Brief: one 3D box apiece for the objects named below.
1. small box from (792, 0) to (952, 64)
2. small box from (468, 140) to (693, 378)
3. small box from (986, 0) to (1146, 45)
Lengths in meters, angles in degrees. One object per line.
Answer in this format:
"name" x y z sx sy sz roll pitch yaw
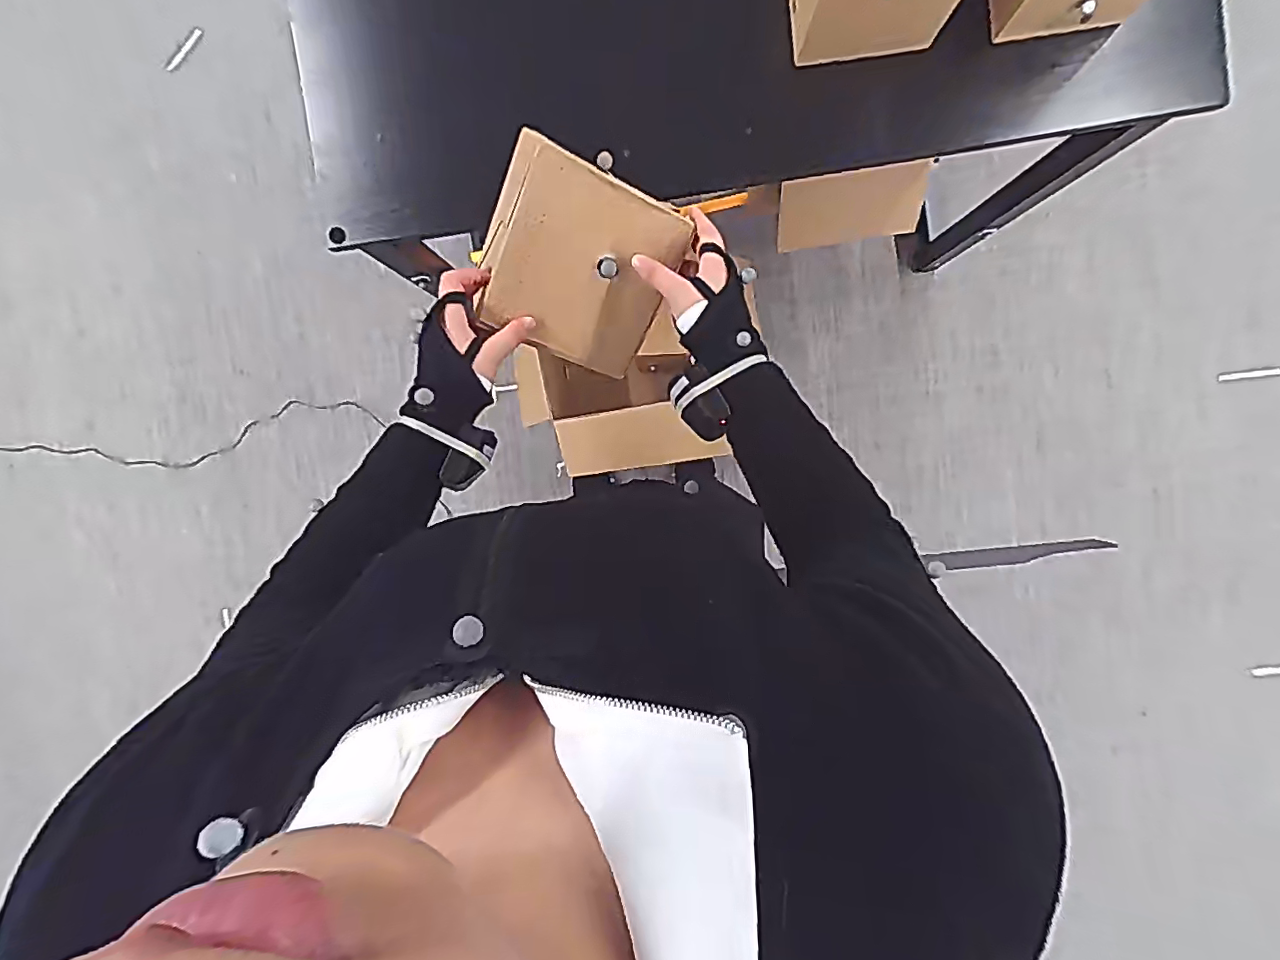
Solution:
"small box" 0.277 -0.626 0.627 0.179 0.176 0.168 -6 93 2
"small box" -0.076 -0.240 0.582 0.176 0.168 0.179 16 118 -26
"small box" 0.521 -0.651 0.614 0.168 0.176 0.179 -6 93 3
